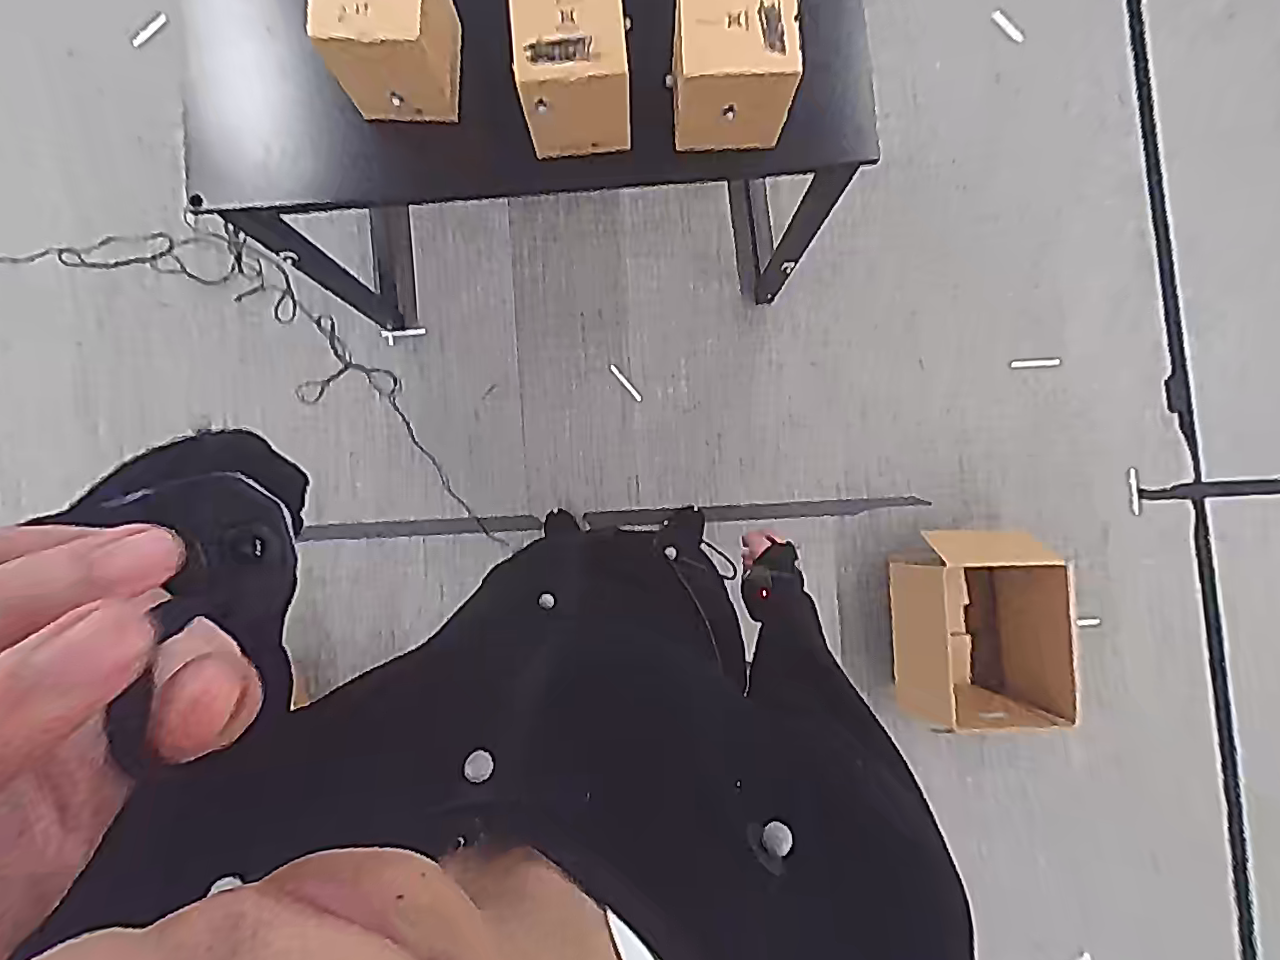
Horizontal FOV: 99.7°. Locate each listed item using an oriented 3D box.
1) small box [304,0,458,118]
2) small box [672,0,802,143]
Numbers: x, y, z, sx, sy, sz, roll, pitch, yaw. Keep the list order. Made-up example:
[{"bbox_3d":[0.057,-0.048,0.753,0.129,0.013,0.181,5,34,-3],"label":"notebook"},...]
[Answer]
[{"bbox_3d":[-0.397,-0.719,0.857,0.168,0.176,0.179,1,88,0],"label":"small box"},{"bbox_3d":[0.144,-0.667,0.855,0.179,0.176,0.168,-2,87,1],"label":"small box"}]
